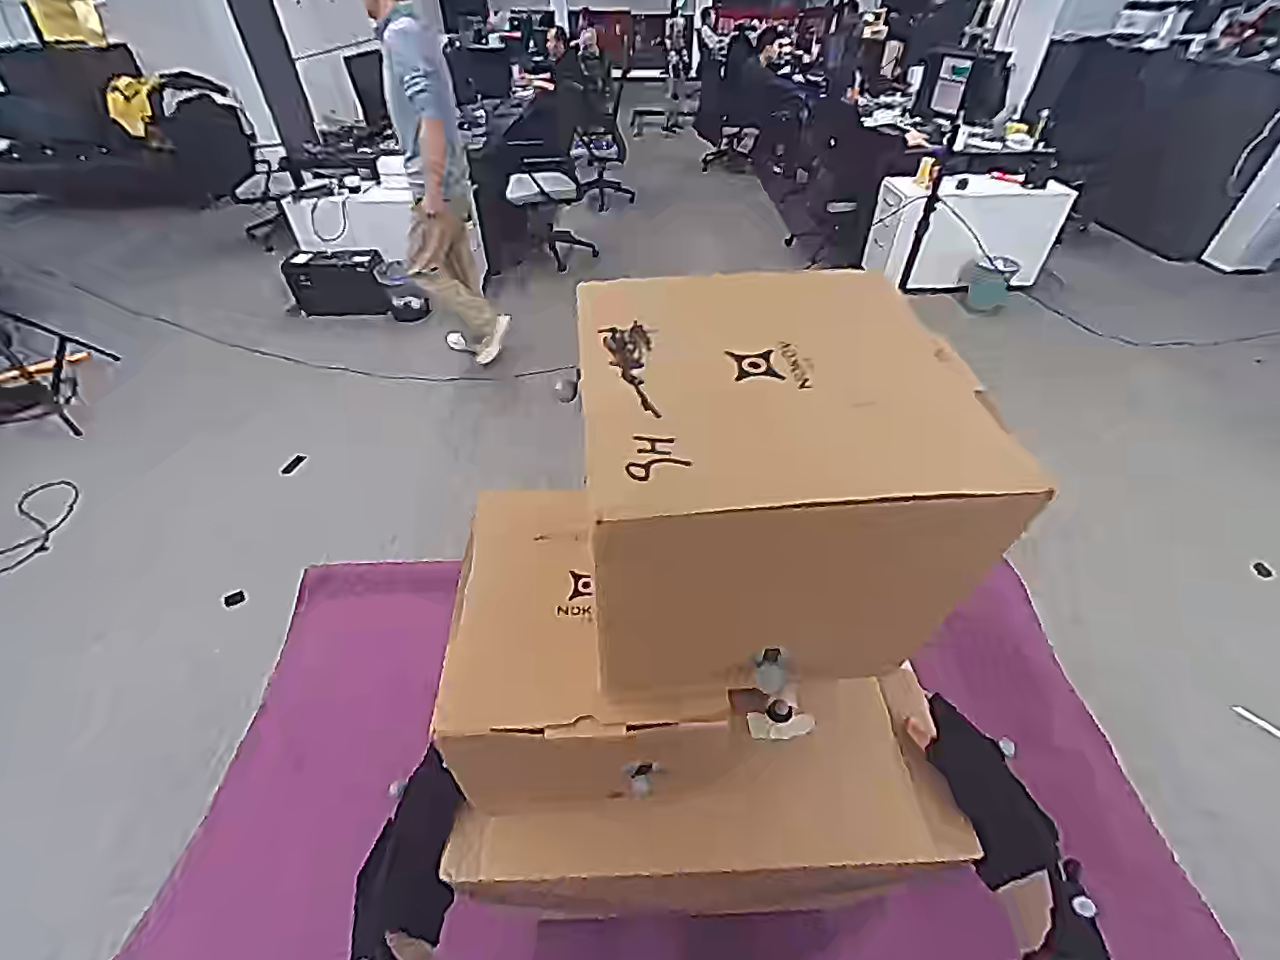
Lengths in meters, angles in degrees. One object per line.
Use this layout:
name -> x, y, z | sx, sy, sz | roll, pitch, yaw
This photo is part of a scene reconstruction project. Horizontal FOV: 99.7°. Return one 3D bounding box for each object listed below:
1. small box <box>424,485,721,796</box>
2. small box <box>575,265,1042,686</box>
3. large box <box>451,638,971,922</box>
small box -> -0.045, 0.123, 0.407 | 0.168, 0.176, 0.179 | 0, 46, -6
small box -> 0.054, 0.000, 0.303 | 0.179, 0.176, 0.168 | -3, 47, -5
large box -> 0.041, 0.271, 0.607 | 0.408, 0.320, 0.320 | 0, 48, -5
